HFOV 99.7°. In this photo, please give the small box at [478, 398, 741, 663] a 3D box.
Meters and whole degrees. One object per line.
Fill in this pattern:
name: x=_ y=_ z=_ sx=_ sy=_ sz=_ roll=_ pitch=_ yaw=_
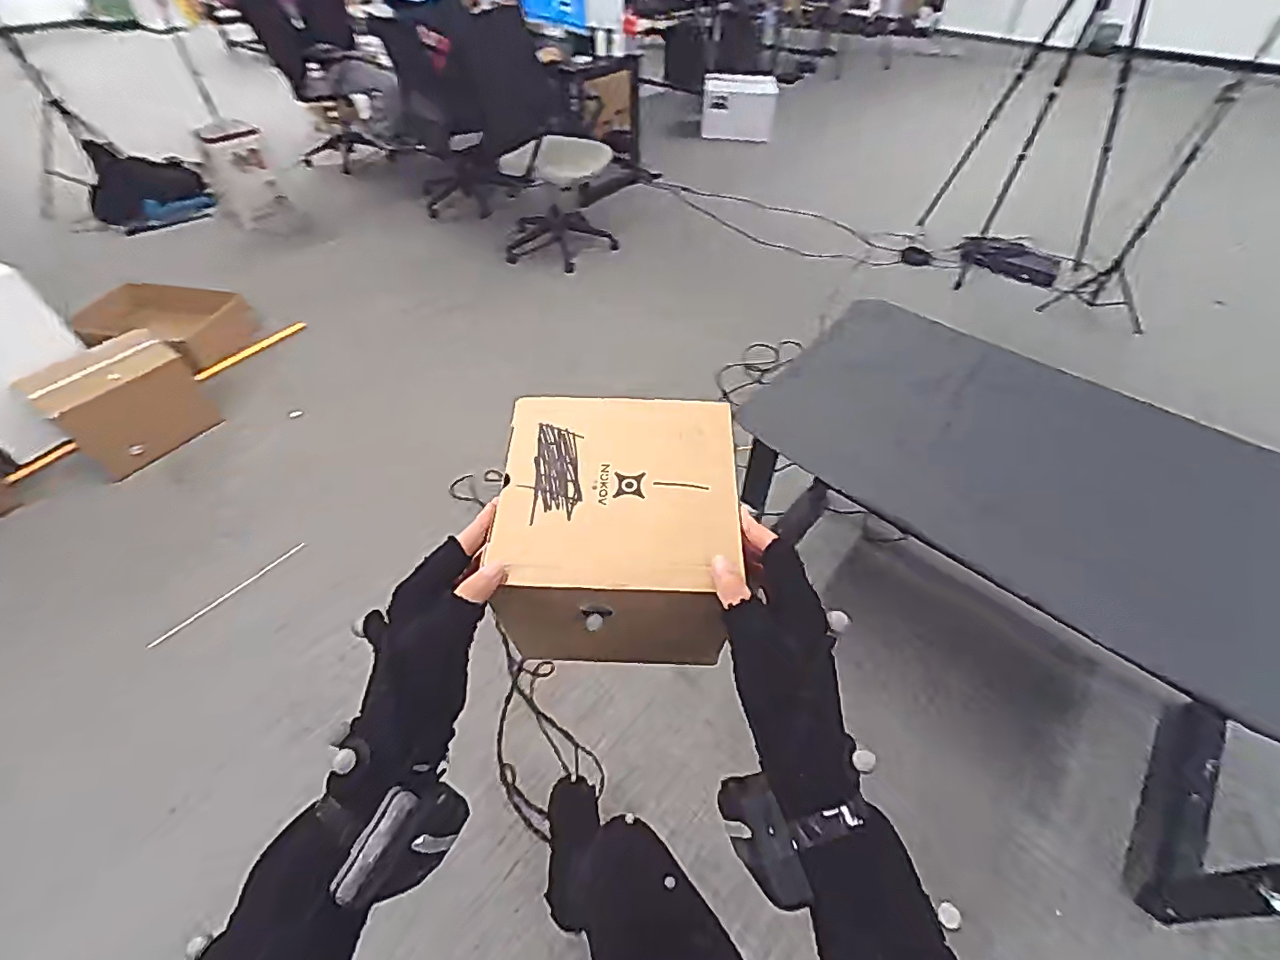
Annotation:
small box: x=-0.016 y=0.049 z=0.461 sx=0.179 sy=0.176 sz=0.168 roll=2 pitch=56 yaw=1
